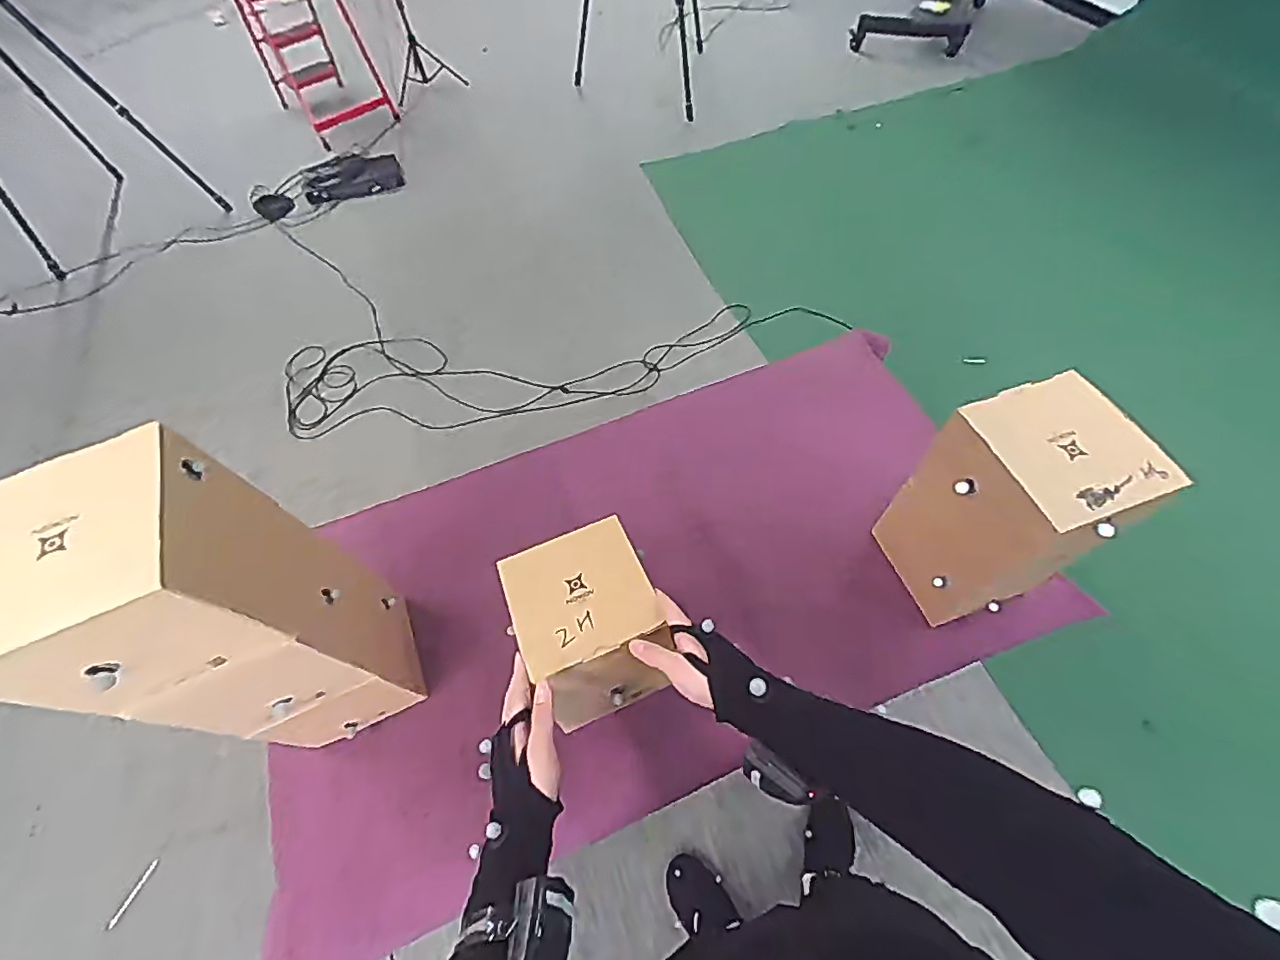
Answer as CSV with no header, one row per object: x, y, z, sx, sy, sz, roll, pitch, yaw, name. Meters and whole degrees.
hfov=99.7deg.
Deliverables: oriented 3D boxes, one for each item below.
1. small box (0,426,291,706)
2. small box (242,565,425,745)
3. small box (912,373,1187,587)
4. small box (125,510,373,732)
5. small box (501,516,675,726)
-0.454,0.089,0.495,0.168,0.176,0.179,-24,60,-9,small box
-0.434,0.255,0.775,0.168,0.176,0.179,-23,61,-9,small box
0.474,0.004,0.666,0.168,0.176,0.179,-18,59,-5,small box
-0.443,0.171,0.635,0.168,0.176,0.179,-24,61,-9,small box
-0.063,0.183,0.699,0.168,0.176,0.179,-21,50,-9,small box
